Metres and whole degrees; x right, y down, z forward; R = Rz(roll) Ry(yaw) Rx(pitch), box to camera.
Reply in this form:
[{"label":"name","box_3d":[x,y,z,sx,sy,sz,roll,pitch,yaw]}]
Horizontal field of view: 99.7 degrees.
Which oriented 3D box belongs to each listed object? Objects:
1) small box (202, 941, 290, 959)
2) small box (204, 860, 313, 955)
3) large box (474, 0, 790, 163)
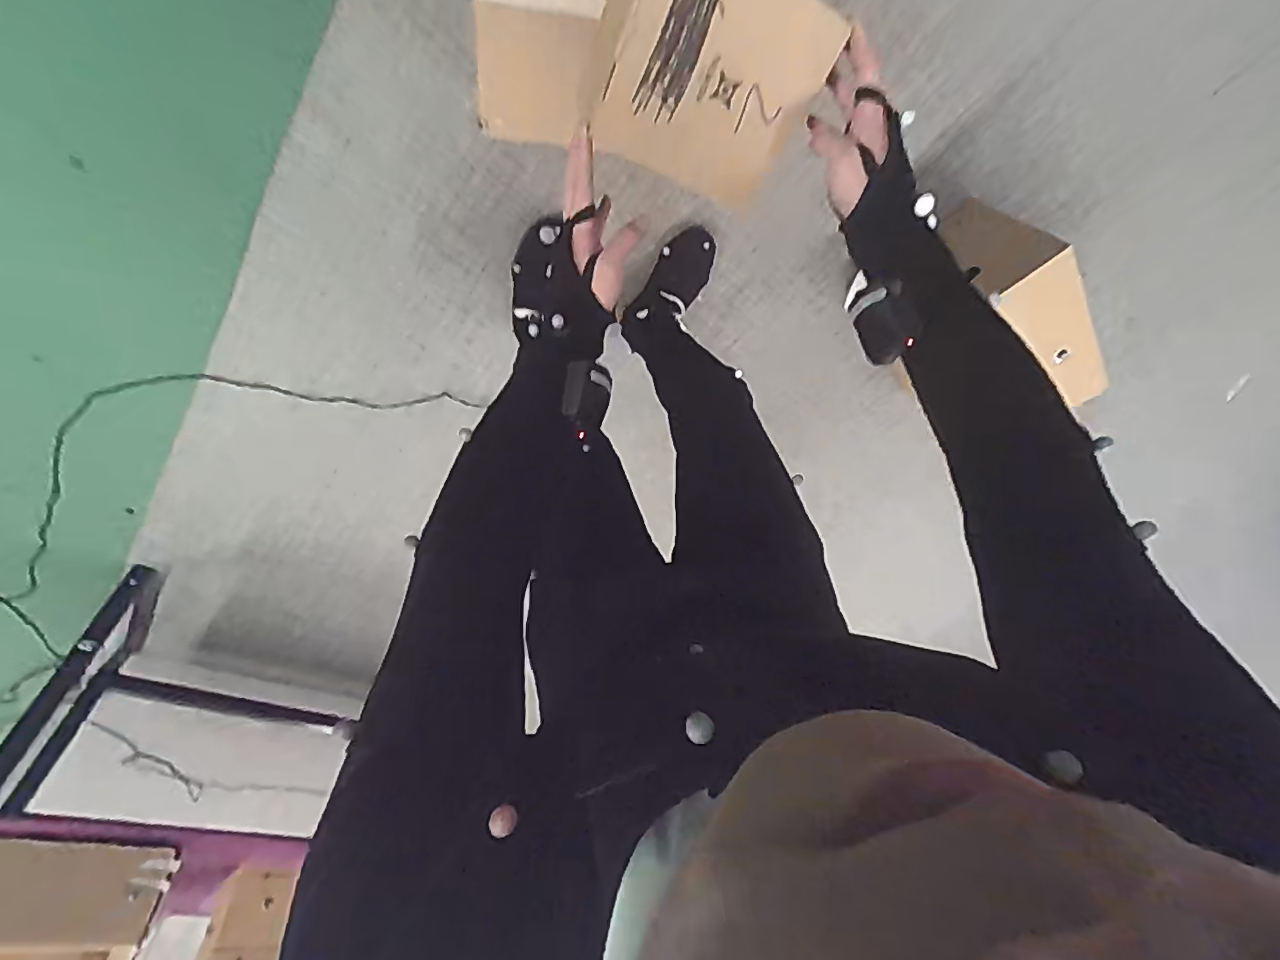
[{"label":"small box","box_3d":[-0.974,1.227,1.293,0.168,0.176,0.179,29,123,-29]},{"label":"small box","box_3d":[-0.987,1.118,1.414,0.168,0.176,0.179,30,123,-29]},{"label":"large box","box_3d":[-0.018,-0.694,0.796,0.408,0.320,0.320,2,131,-8]}]
